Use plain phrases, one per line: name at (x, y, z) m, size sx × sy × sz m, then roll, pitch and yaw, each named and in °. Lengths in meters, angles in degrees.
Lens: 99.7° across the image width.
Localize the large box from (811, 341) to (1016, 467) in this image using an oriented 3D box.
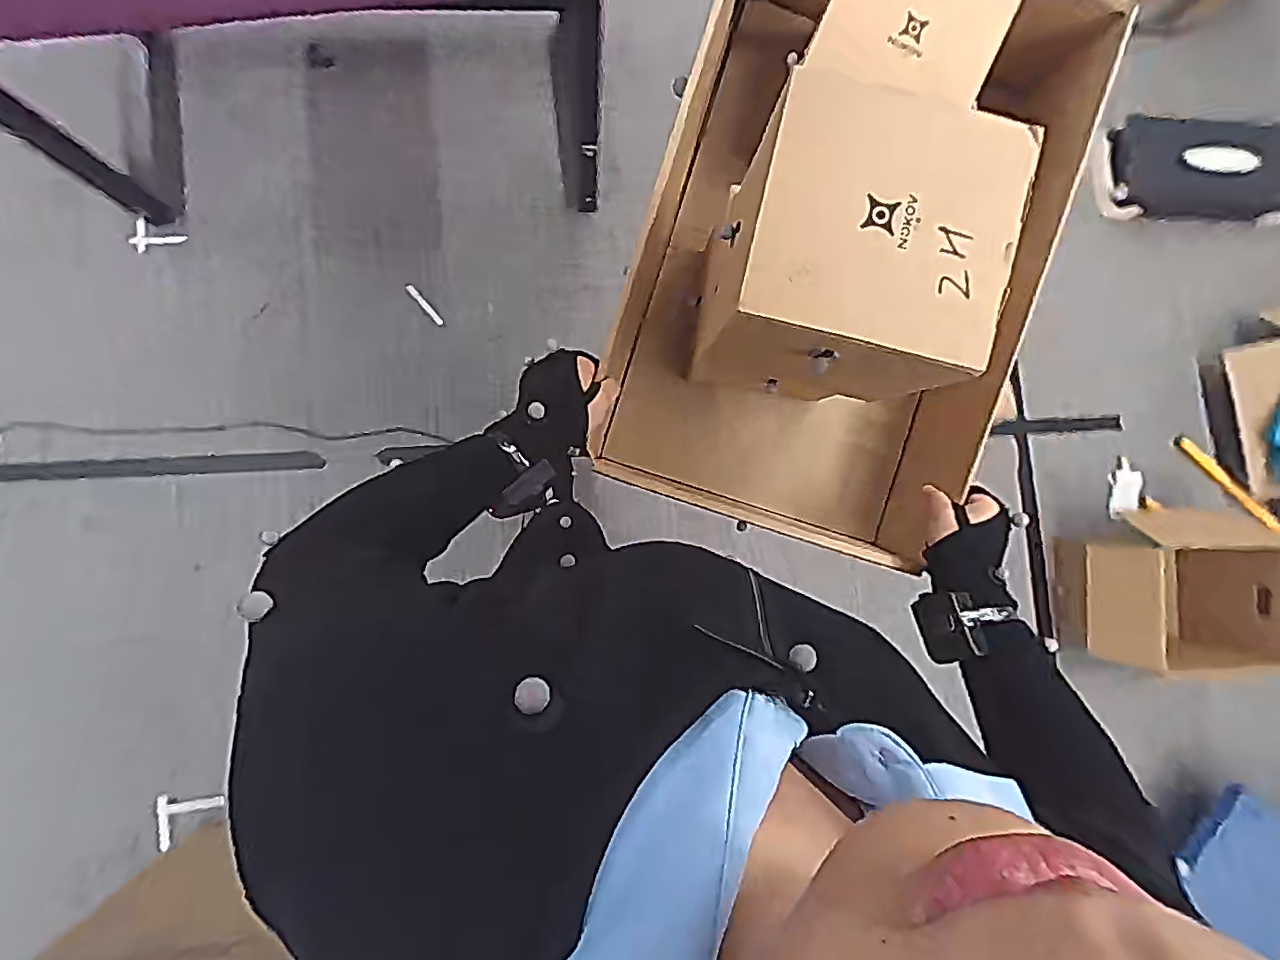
large box at (0.684, -0.286, 1.446) m, size 0.320 × 0.320 × 0.408 m, roll -23°, pitch 88°, yaw -7°

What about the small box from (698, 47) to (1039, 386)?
small box at (0.152, -0.178, 0.425) m, size 0.179 × 0.176 × 0.168 m, roll 12°, pitch 92°, yaw -3°
